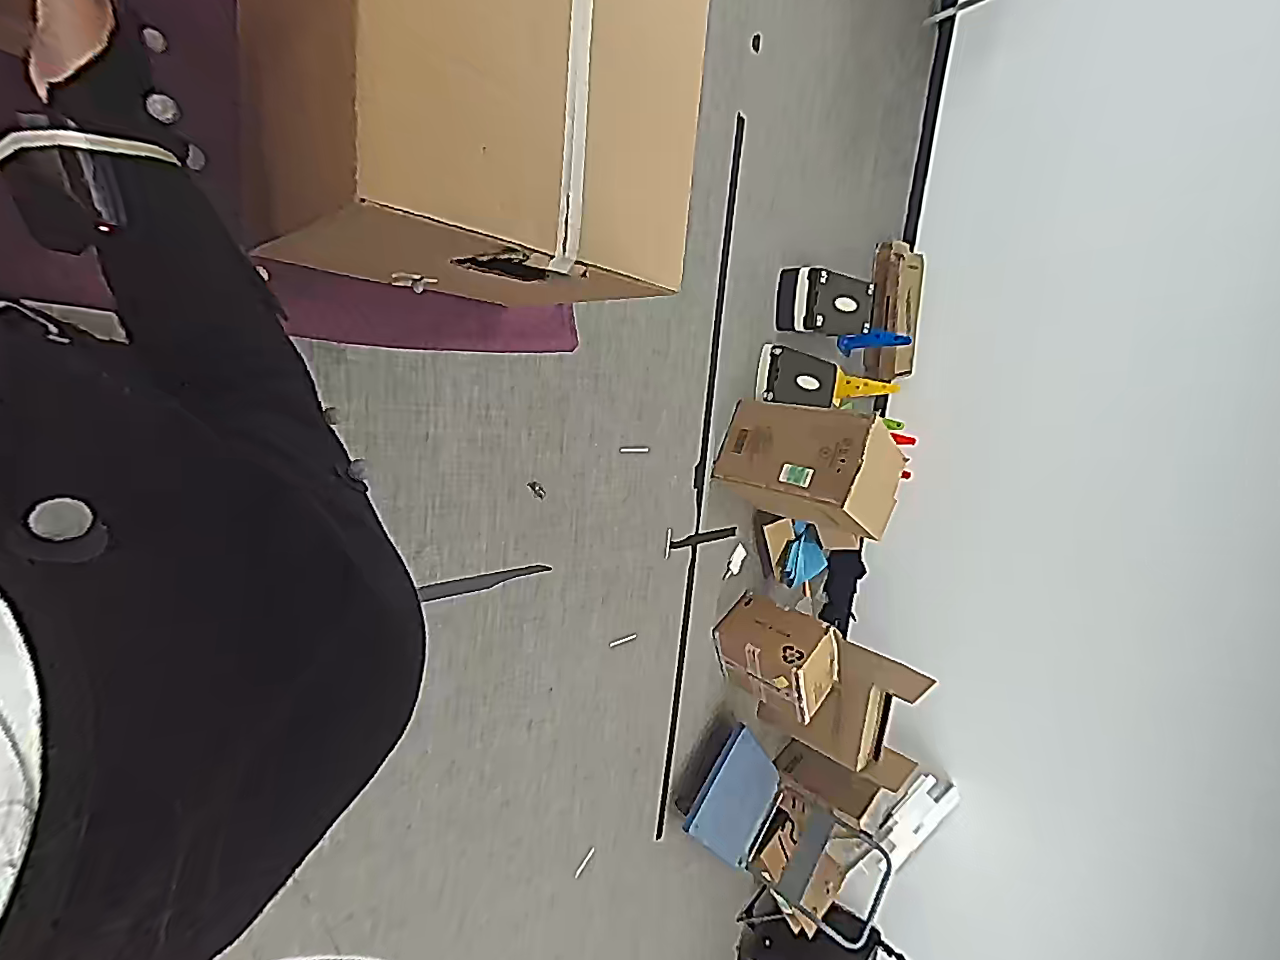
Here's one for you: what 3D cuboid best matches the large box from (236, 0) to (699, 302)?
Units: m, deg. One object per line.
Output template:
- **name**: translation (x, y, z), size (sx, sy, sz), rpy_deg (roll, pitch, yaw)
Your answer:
- **large box**: translation (-0.161, -0.402, 0.507), size (0.320, 0.320, 0.408), rpy_deg (-6, 104, -48)
